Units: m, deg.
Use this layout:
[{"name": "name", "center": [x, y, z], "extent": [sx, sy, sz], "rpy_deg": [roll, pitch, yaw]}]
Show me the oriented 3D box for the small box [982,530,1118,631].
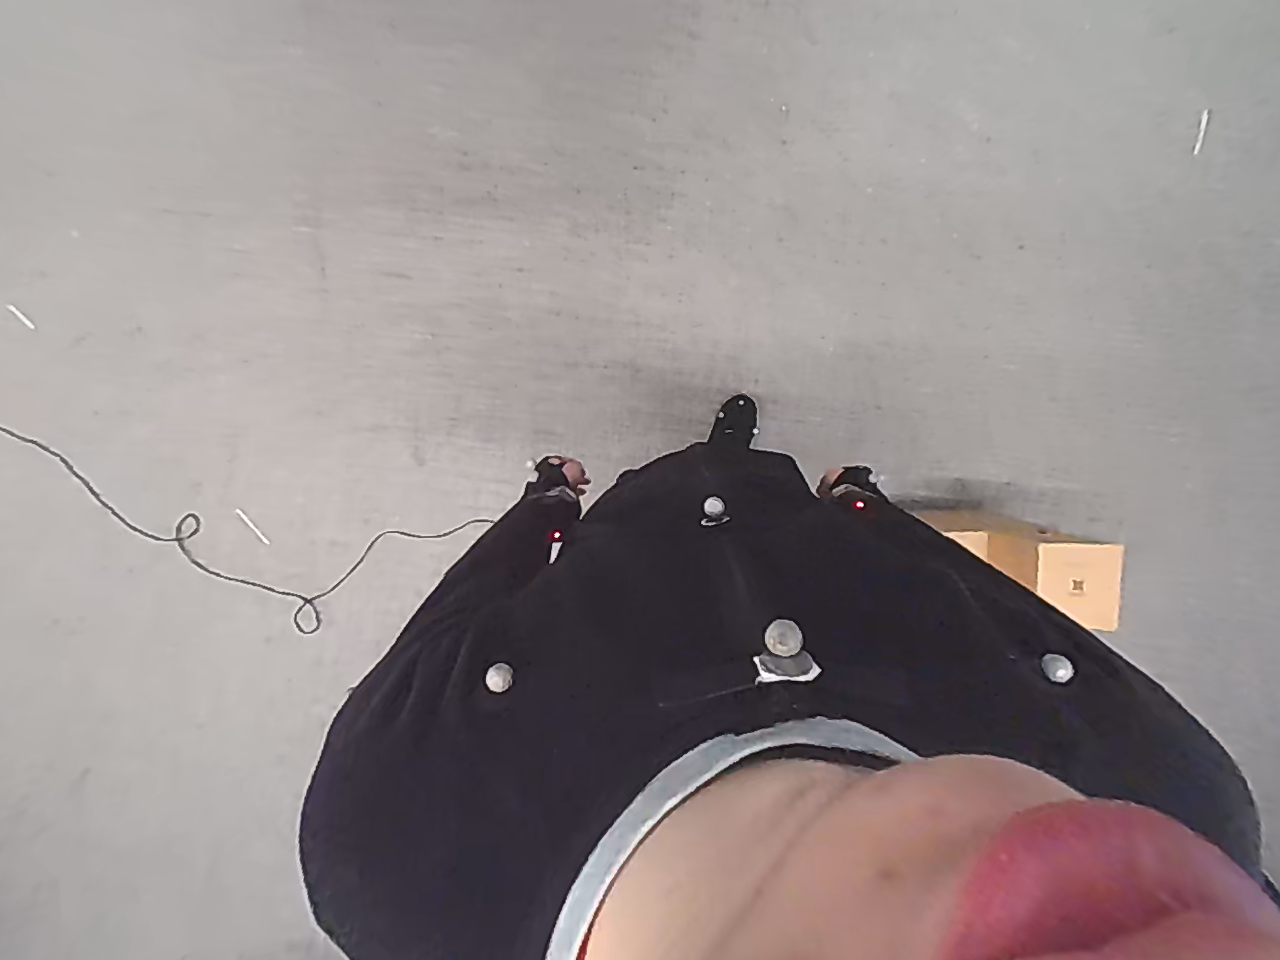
[{"name": "small box", "center": [0.861, 0.208, 1.153], "extent": [0.168, 0.176, 0.179], "rpy_deg": [1, 93, 1]}]
